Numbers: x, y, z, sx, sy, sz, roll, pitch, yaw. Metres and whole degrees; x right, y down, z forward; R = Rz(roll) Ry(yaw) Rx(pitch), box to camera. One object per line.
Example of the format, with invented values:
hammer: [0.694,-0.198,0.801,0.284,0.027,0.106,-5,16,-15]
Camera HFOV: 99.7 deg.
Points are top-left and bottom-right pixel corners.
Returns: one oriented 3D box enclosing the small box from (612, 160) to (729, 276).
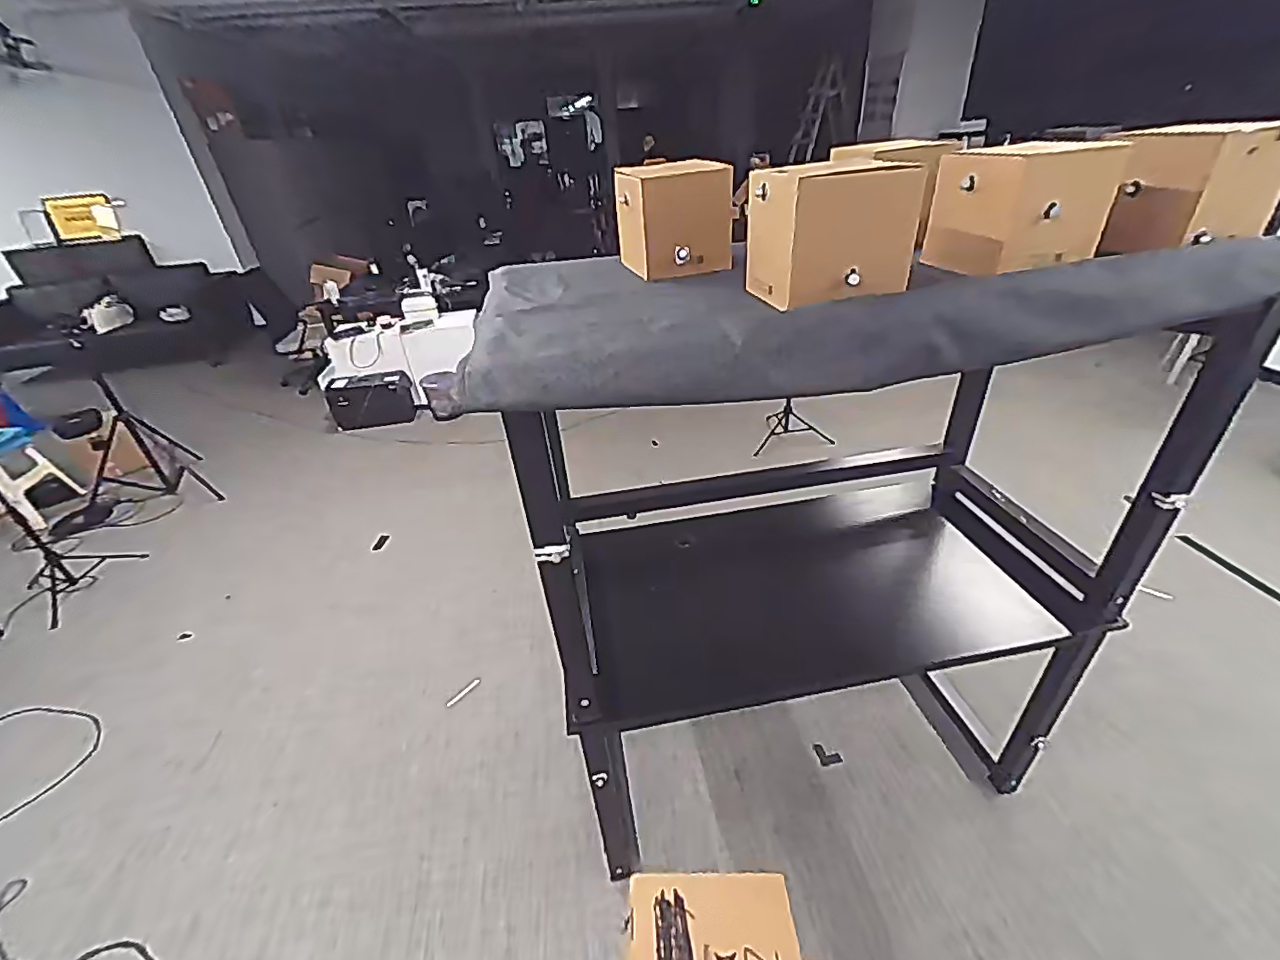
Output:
small box: [0.053,-0.480,0.990,0.168,0.176,0.179,-14,34,-11]

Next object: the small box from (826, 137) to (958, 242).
small box: [0.474,-0.562,1.055,0.179,0.176,0.168,-9,34,-6]

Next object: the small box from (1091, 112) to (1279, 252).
small box: [0.838,-0.462,0.844,0.168,0.176,0.179,-13,32,-10]

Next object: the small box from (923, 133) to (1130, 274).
small box: [0.567,-0.418,0.823,0.168,0.176,0.179,-11,32,-8]

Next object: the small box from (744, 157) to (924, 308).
small box: [0.256,-0.351,0.761,0.179,0.176,0.168,-9,32,-7]
